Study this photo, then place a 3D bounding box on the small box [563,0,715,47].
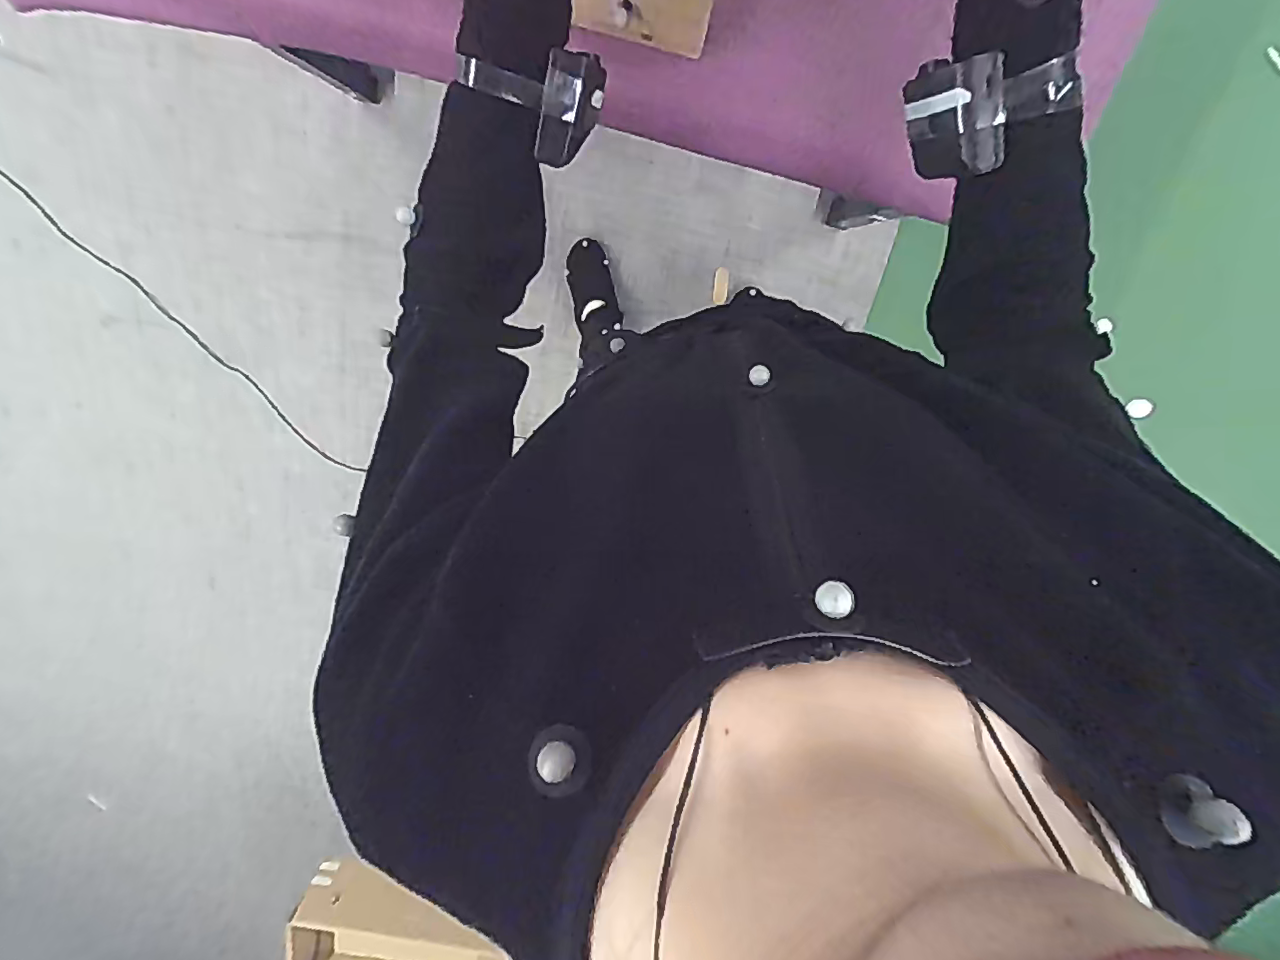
[{"bbox_3d":[0.006,-0.532,0.480,0.168,0.176,0.179,12,110,-4],"label":"small box"}]
